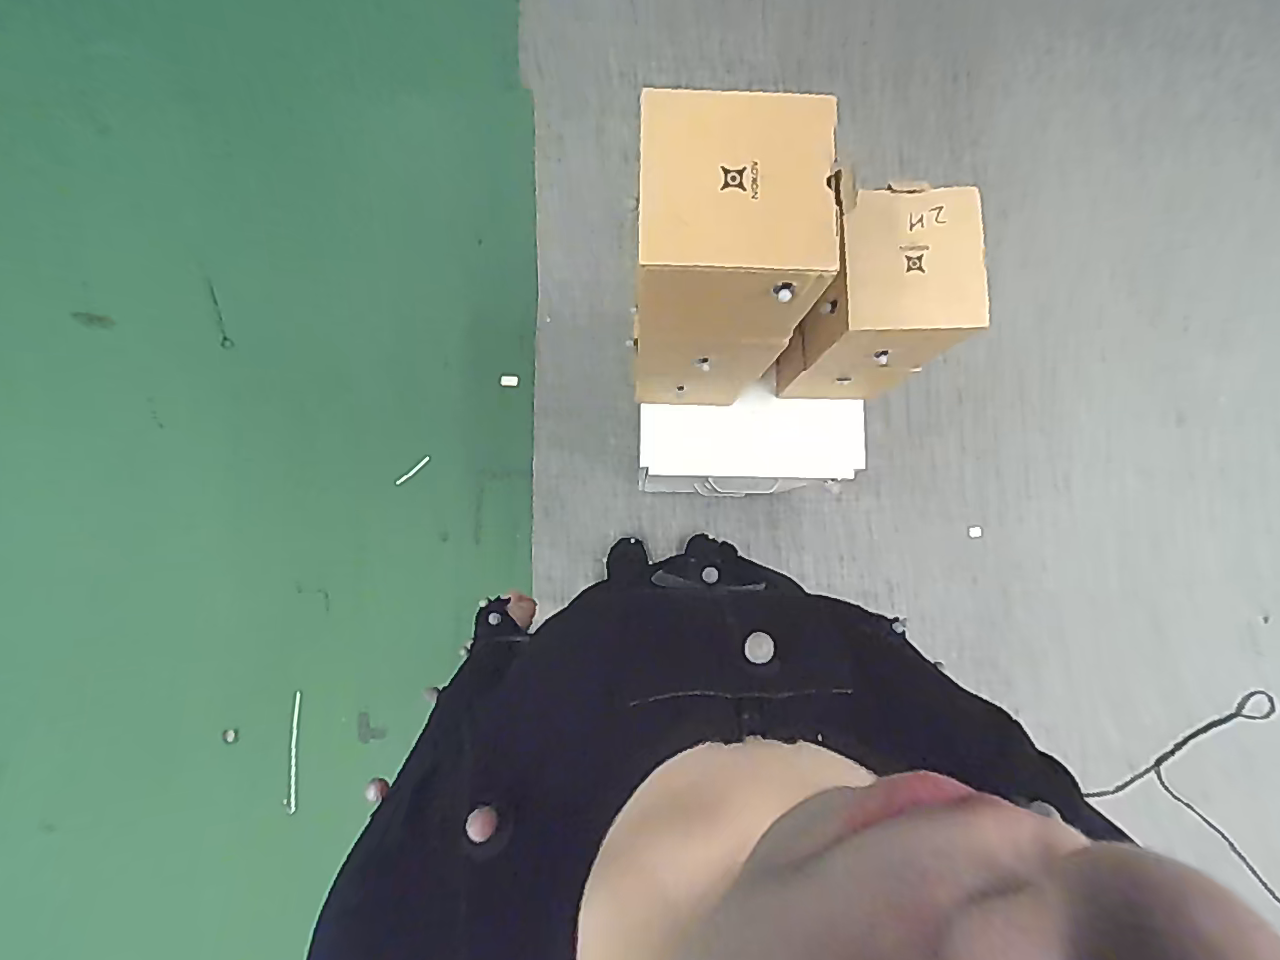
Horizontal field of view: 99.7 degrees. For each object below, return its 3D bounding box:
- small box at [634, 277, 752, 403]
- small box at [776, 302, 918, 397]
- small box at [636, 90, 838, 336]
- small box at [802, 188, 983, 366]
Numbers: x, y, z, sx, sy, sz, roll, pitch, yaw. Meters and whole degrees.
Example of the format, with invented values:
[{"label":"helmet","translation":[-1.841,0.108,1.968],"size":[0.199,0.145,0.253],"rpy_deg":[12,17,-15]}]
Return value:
[{"label":"small box","translation":[0.079,-0.225,0.881],"size":[0.179,0.176,0.168],"rpy_deg":[1,85,-2]},{"label":"small box","translation":[0.326,-0.236,0.885],"size":[0.179,0.176,0.168],"rpy_deg":[1,85,0]},{"label":"small box","translation":[0.085,-0.256,0.555],"size":[0.179,0.176,0.168],"rpy_deg":[1,84,-2]},{"label":"small box","translation":[0.321,-0.255,0.721],"size":[0.168,0.176,0.179],"rpy_deg":[-1,84,0]}]
